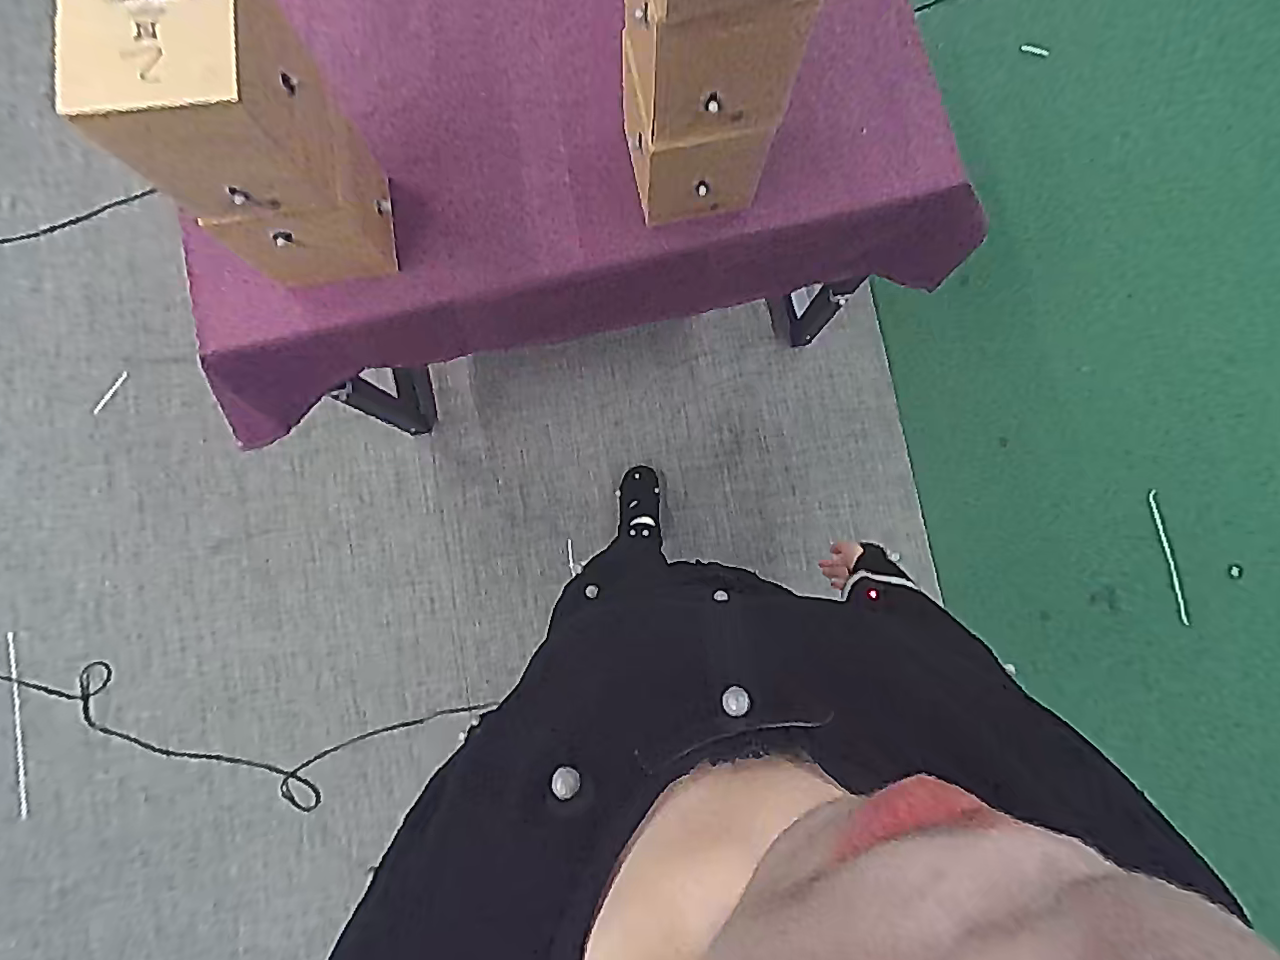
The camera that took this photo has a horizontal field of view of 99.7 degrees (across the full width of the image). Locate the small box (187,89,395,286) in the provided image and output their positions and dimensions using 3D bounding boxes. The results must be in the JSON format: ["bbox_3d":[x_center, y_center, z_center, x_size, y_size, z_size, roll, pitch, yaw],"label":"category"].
[{"bbox_3d":[-0.465,-0.386,0.743,0.179,0.176,0.168,-9,84,-3],"label":"small box"}]

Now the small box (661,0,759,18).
[{"bbox_3d":[0.078,-0.539,0.437,0.168,0.176,0.179,-15,84,-2],"label":"small box"}]

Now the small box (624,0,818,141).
[{"bbox_3d":[0.076,-0.525,0.601,0.168,0.176,0.179,-12,85,-2],"label":"small box"}]

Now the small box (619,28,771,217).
[{"bbox_3d":[0.070,-0.499,0.762,0.168,0.176,0.179,-12,84,-2],"label":"small box"}]
